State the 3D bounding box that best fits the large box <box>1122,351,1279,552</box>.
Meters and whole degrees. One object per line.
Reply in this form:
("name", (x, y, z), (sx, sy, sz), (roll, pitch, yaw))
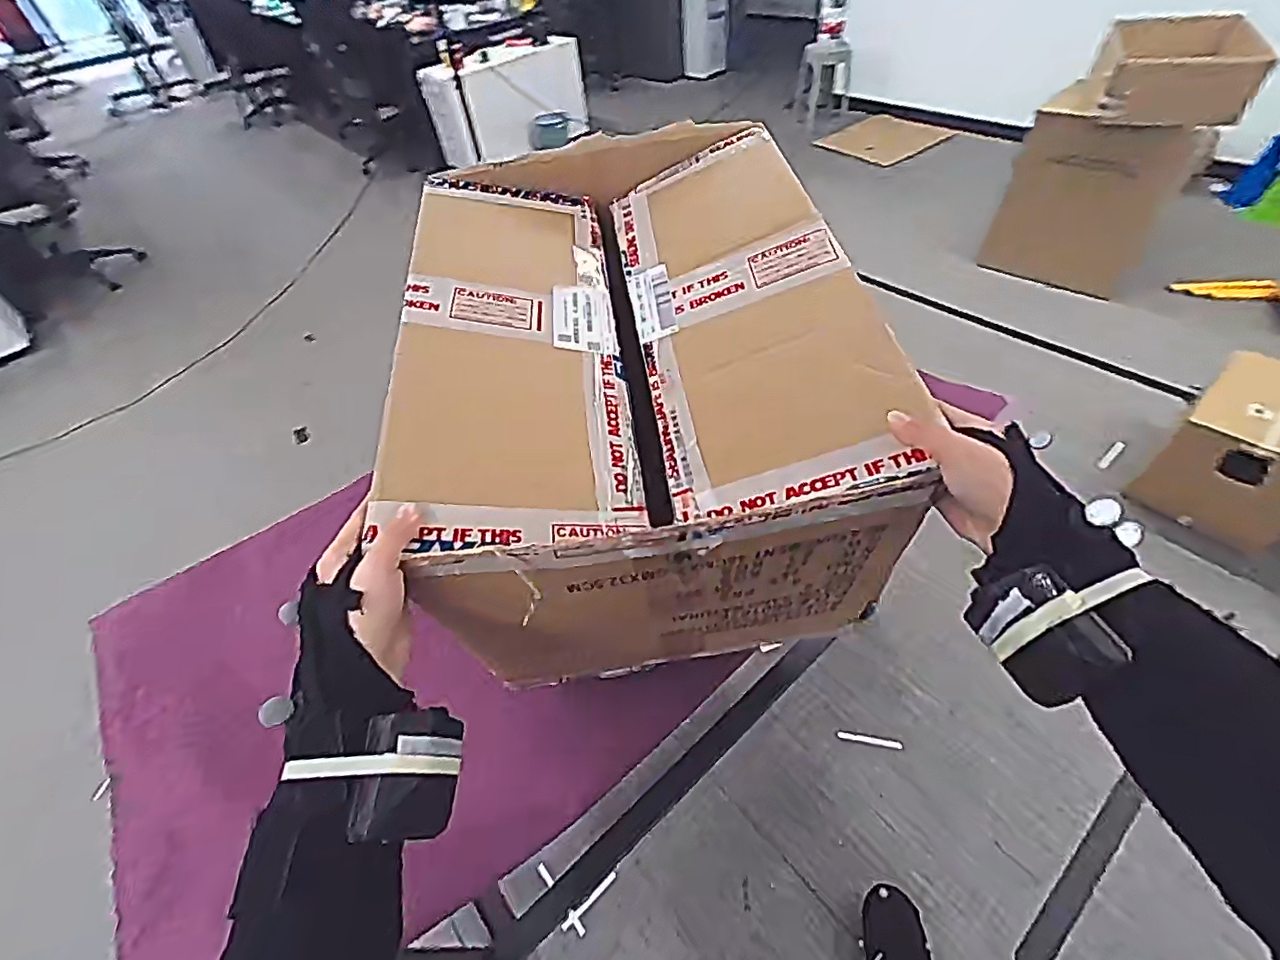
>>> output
("large box", (1.662, -0.084, 1.496), (0.408, 0.320, 0.320), (-37, 54, -22))
